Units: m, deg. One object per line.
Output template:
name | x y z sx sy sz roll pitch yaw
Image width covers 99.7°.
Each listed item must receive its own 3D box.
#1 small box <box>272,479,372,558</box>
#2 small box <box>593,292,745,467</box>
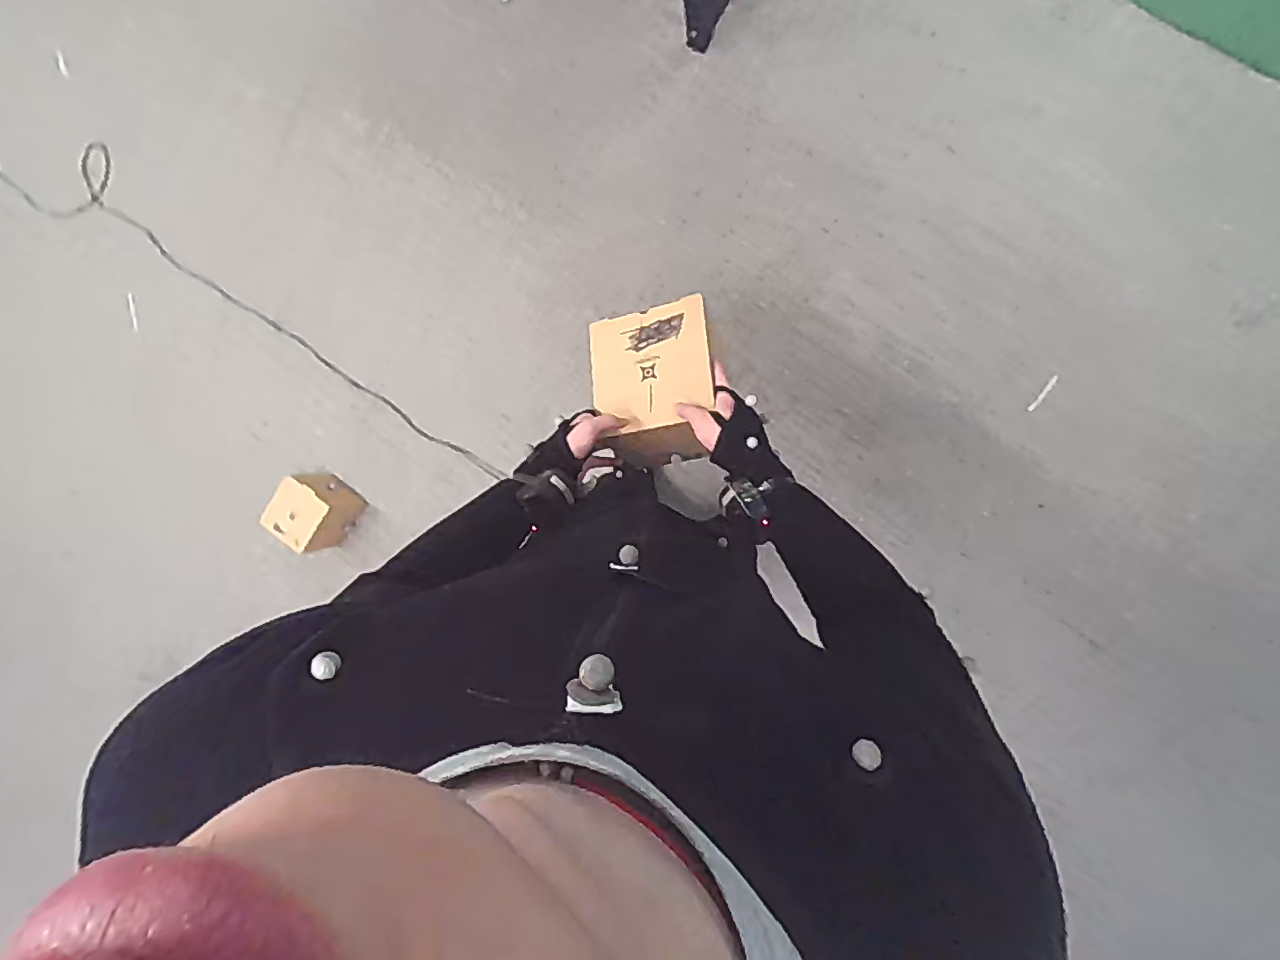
small box | -0.960 0.110 1.652 0.168 0.176 0.179 36 96 7
small box | 0.046 -0.134 0.783 0.168 0.176 0.179 -12 74 20
